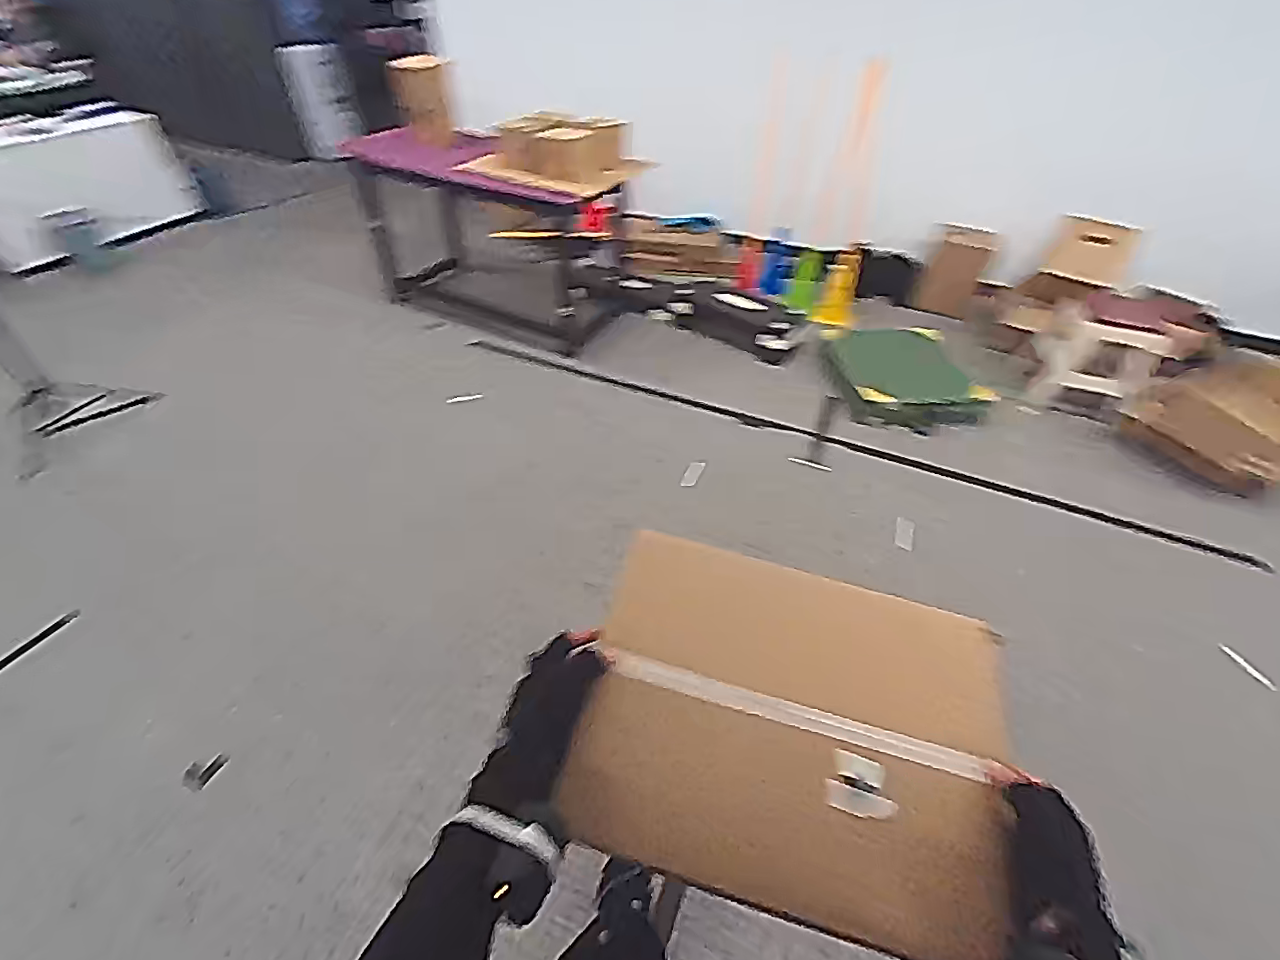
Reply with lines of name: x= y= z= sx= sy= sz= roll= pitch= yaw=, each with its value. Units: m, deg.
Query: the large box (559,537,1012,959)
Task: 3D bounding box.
large box: x=0.147 y=0.318 z=0.668 sx=0.408 sy=0.320 sz=0.320 roll=15 pitch=57 yaw=7
